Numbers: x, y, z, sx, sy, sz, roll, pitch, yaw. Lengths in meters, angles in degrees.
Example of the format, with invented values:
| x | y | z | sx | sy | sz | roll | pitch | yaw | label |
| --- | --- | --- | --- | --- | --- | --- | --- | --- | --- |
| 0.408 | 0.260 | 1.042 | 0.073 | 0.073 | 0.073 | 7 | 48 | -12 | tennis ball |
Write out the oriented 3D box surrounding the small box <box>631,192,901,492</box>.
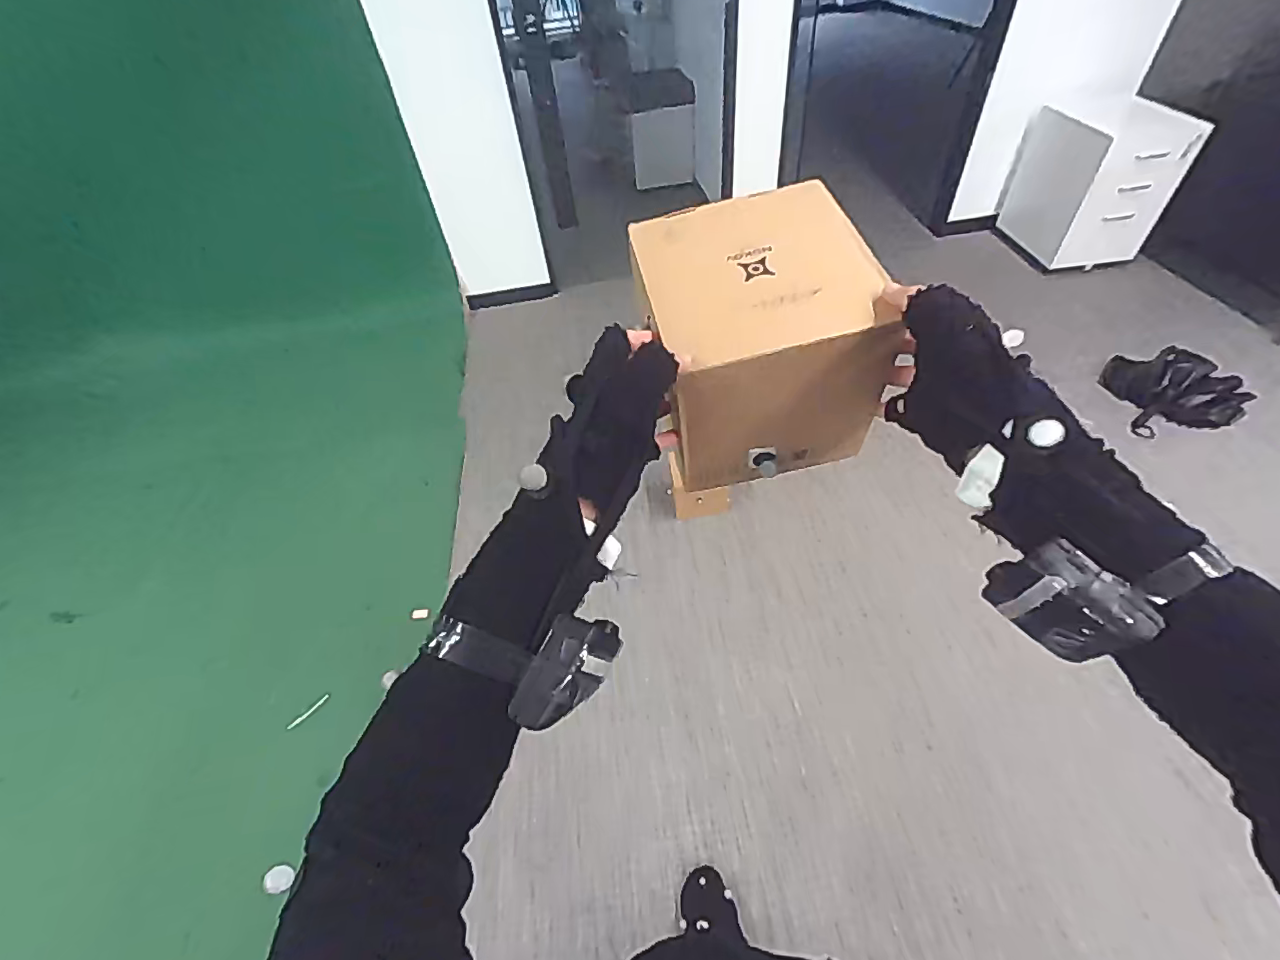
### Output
| x | y | z | sx | sy | sz | roll | pitch | yaw | label |
| --- | --- | --- | --- | --- | --- | --- | --- | --- | --- |
| 0.096 | -0.116 | 0.484 | 0.168 | 0.176 | 0.179 | -15 | 57 | 1 | small box |

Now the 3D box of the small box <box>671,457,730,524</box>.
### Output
| x | y | z | sx | sy | sz | roll | pitch | yaw | label |
| --- | --- | --- | --- | --- | --- | --- | --- | --- | --- |
| 0.203 | 0.030 | 1.837 | 0.179 | 0.176 | 0.168 | -8 | 46 | 1 | small box |
